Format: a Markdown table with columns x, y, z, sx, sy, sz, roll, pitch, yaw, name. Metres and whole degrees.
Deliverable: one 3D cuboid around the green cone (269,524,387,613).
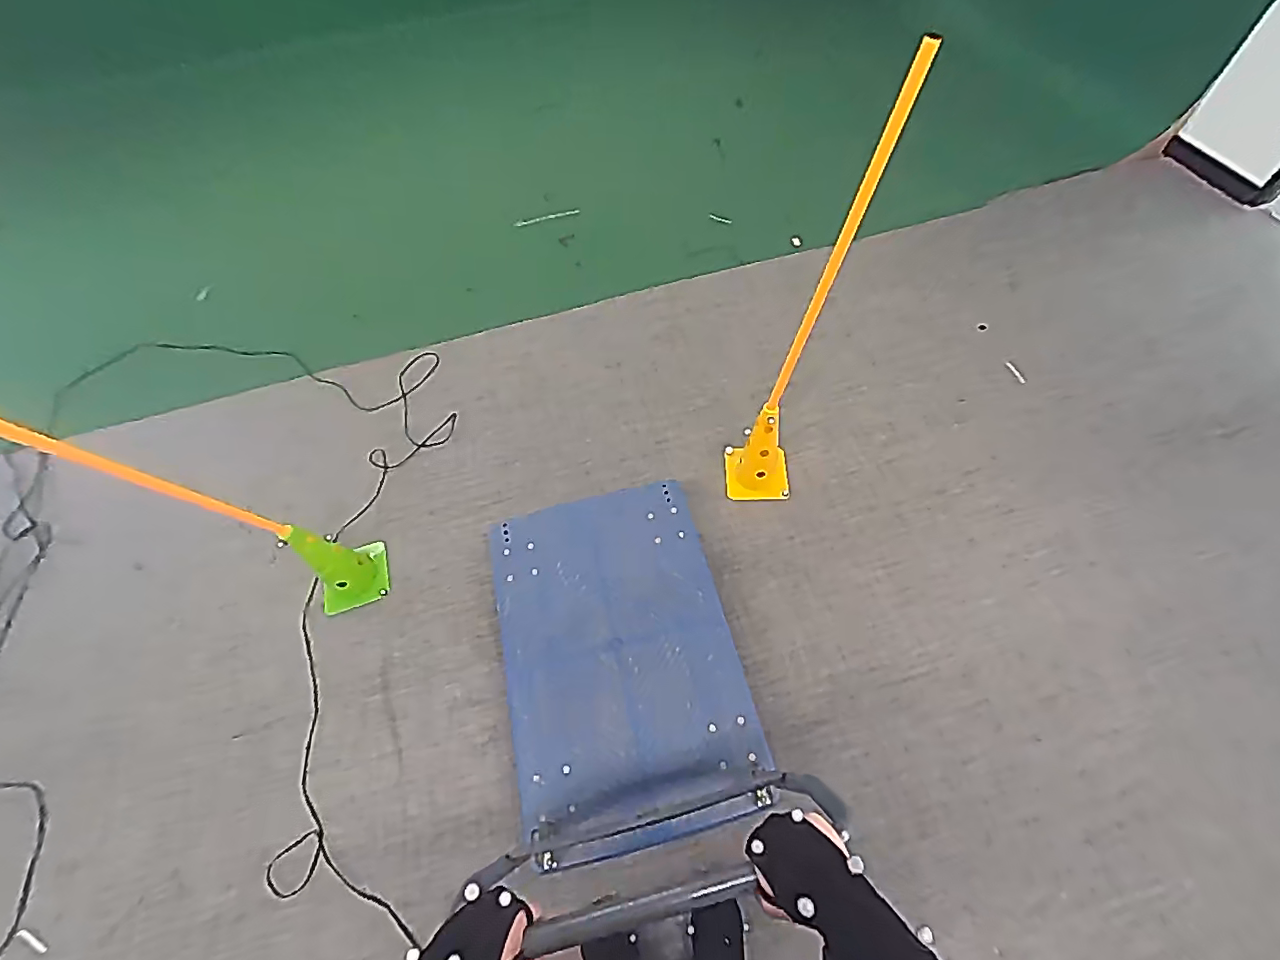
| x | y | z | sx | sy | sz | roll | pitch | yaw | name |
| --- | --- | --- | --- | --- | --- | --- | --- | --- | --- |
| -0.919 | 0.214 | 1.554 | 0.202 | 0.368 | 0.200 | -20 | 60 | -5 | green cone |
